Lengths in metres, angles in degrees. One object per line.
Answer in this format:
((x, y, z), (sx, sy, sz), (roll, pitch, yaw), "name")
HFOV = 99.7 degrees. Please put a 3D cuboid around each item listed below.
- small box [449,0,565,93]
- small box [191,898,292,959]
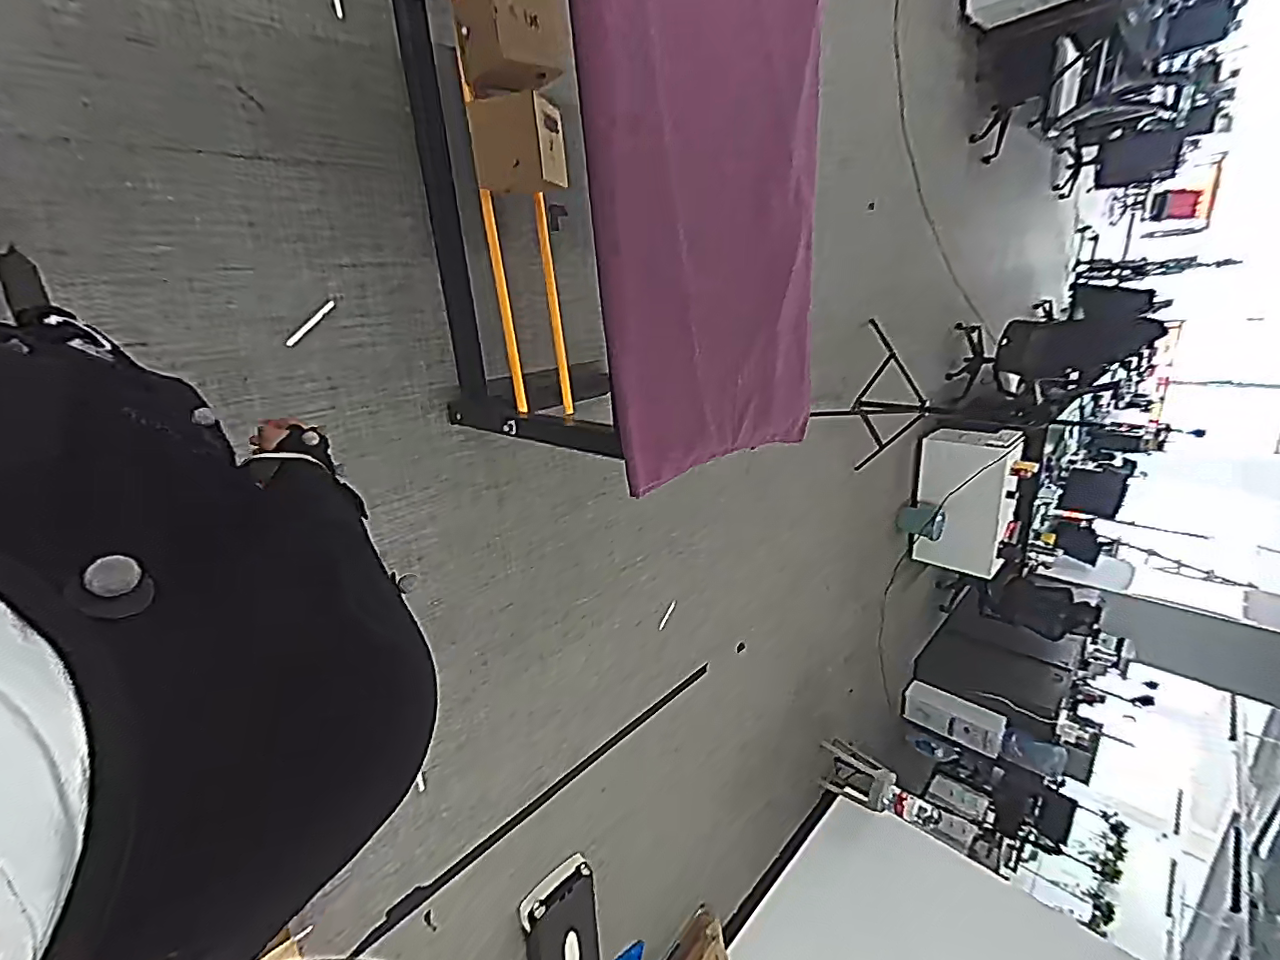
((-0.294, -0.986, 1.199), (0.179, 0.176, 0.168), (-24, 116, -39), "small box")
((-0.920, 1.147, 1.265), (0.168, 0.176, 0.179), (-18, 112, -42), "small box")
